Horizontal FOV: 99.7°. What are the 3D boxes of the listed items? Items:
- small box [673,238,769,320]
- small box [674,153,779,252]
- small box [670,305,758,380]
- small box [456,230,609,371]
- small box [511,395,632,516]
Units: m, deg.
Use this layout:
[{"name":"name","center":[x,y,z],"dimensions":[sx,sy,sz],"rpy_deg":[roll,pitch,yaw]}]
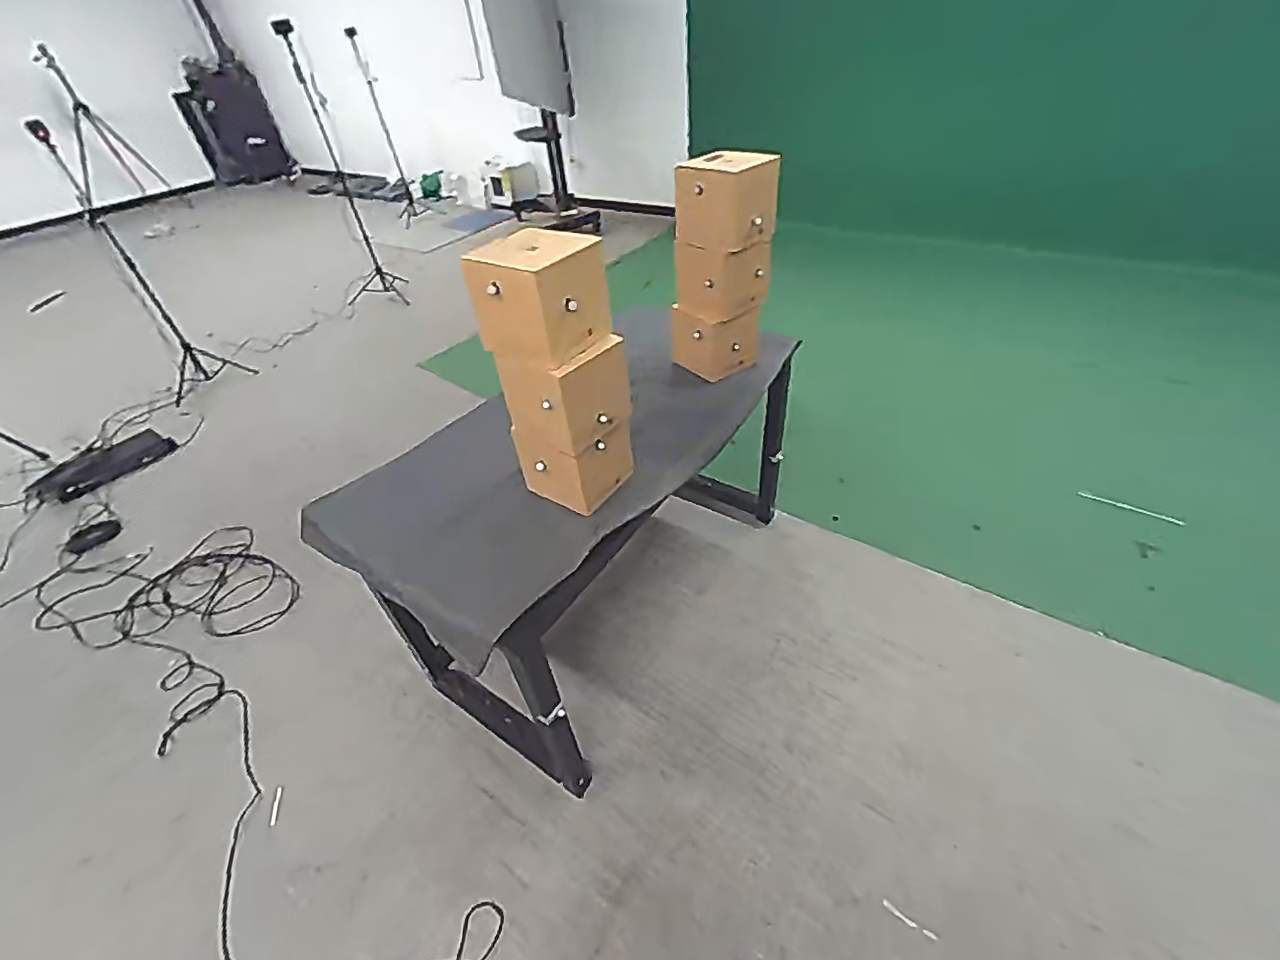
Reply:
[{"name":"small box","center":[0.205,-0.519,1.362],"dimensions":[0.168,0.176,0.179],"rpy_deg":[-31,44,-27]},{"name":"small box","center":[0.198,-0.646,1.257],"dimensions":[0.179,0.176,0.168],"rpy_deg":[30,52,35]},{"name":"small box","center":[0.201,-0.389,1.461],"dimensions":[0.168,0.176,0.179],"rpy_deg":[-27,43,-23]},{"name":"small box","center":[-0.171,-0.304,0.921],"dimensions":[0.179,0.176,0.168],"rpy_deg":[21,48,29]},{"name":"small box","center":[-0.136,-0.051,1.126],"dimensions":[0.179,0.176,0.168],"rpy_deg":[21,48,29]}]
